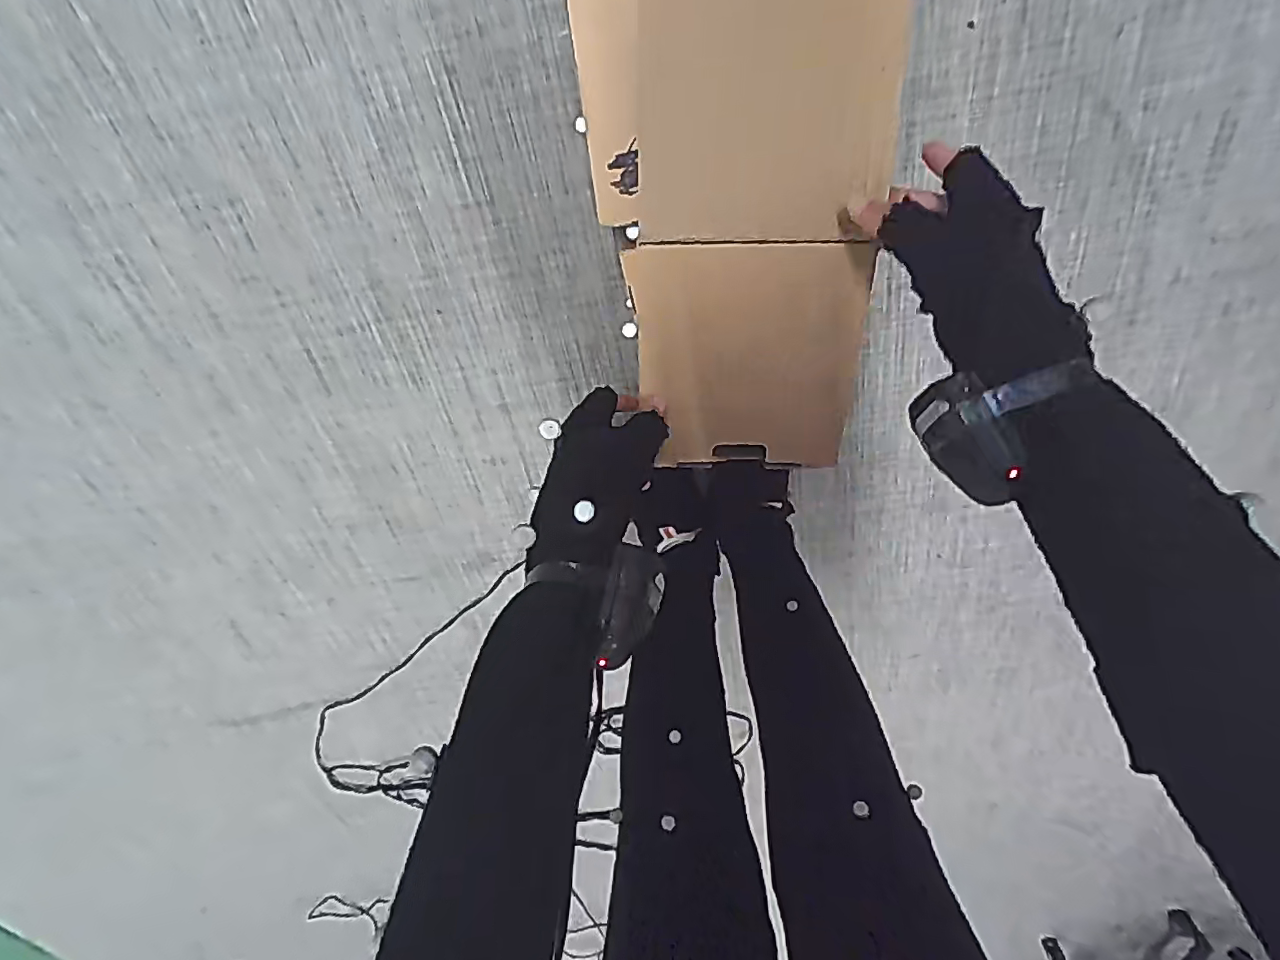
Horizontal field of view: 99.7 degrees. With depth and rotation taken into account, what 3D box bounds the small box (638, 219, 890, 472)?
[{"bbox_3d":[0.087,-0.124,0.473,0.168,0.176,0.179,2,118,0],"label":"small box"}]
